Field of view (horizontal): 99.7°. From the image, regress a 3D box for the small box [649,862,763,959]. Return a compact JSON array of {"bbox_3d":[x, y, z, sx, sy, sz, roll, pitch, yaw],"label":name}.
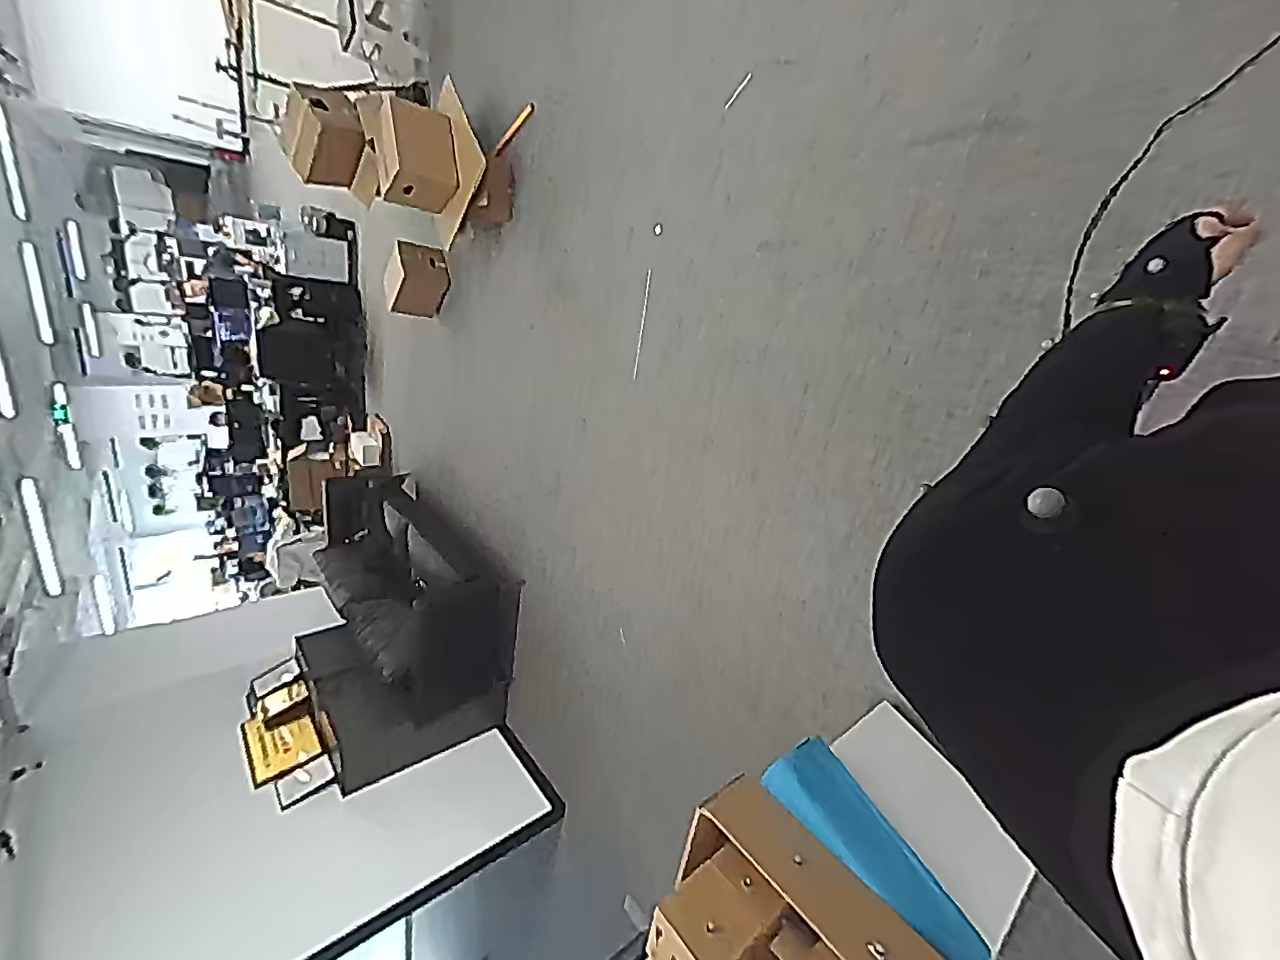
[{"bbox_3d":[0.148,1.019,1.210,0.179,0.176,0.168,29,118,41],"label":"small box"}]
